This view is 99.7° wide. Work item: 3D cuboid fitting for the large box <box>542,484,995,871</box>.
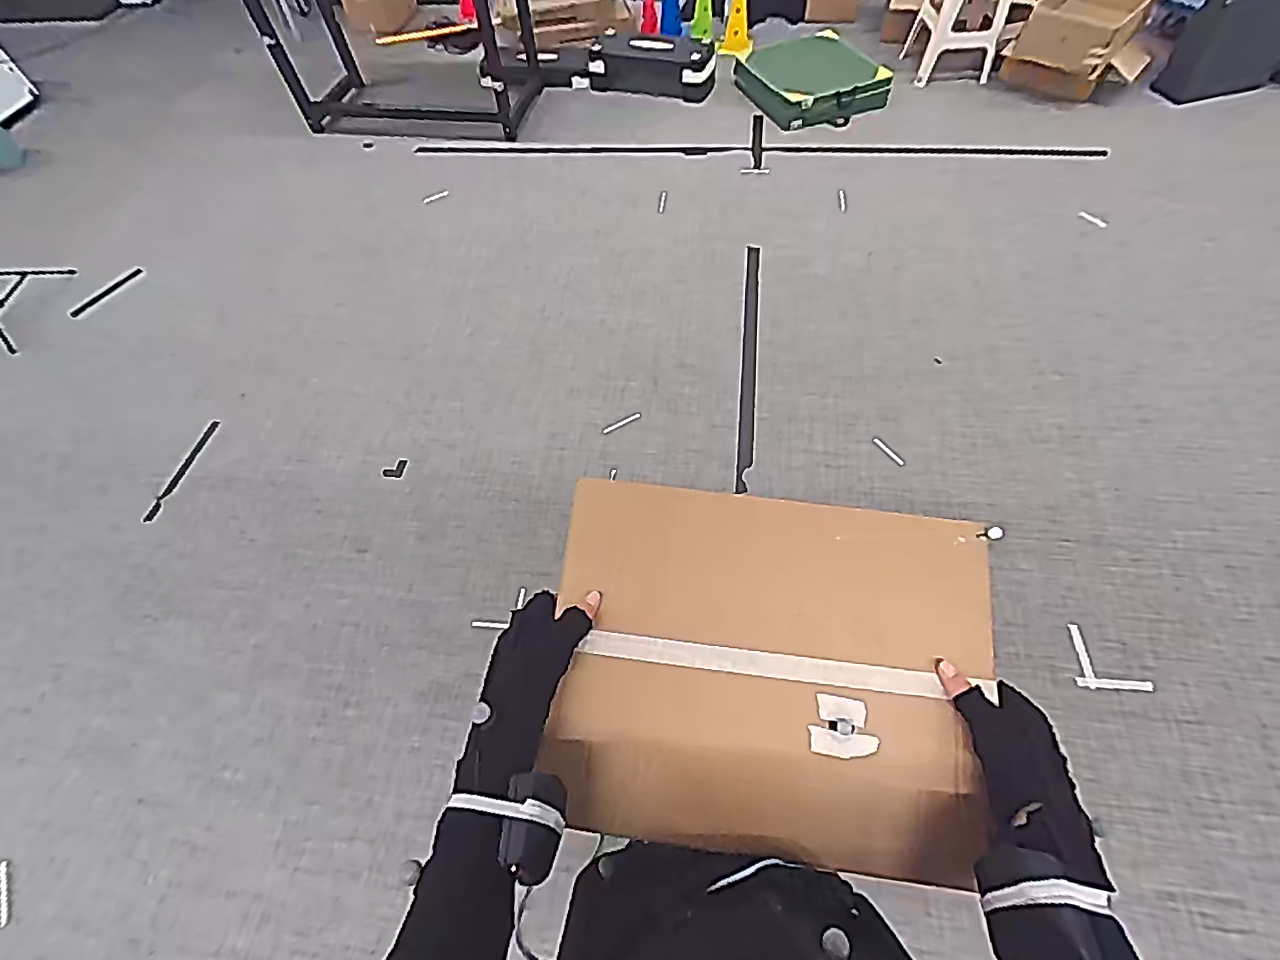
[{"bbox_3d":[0.126,0.212,0.655,0.408,0.320,0.320,7,74,4],"label":"large box"}]
